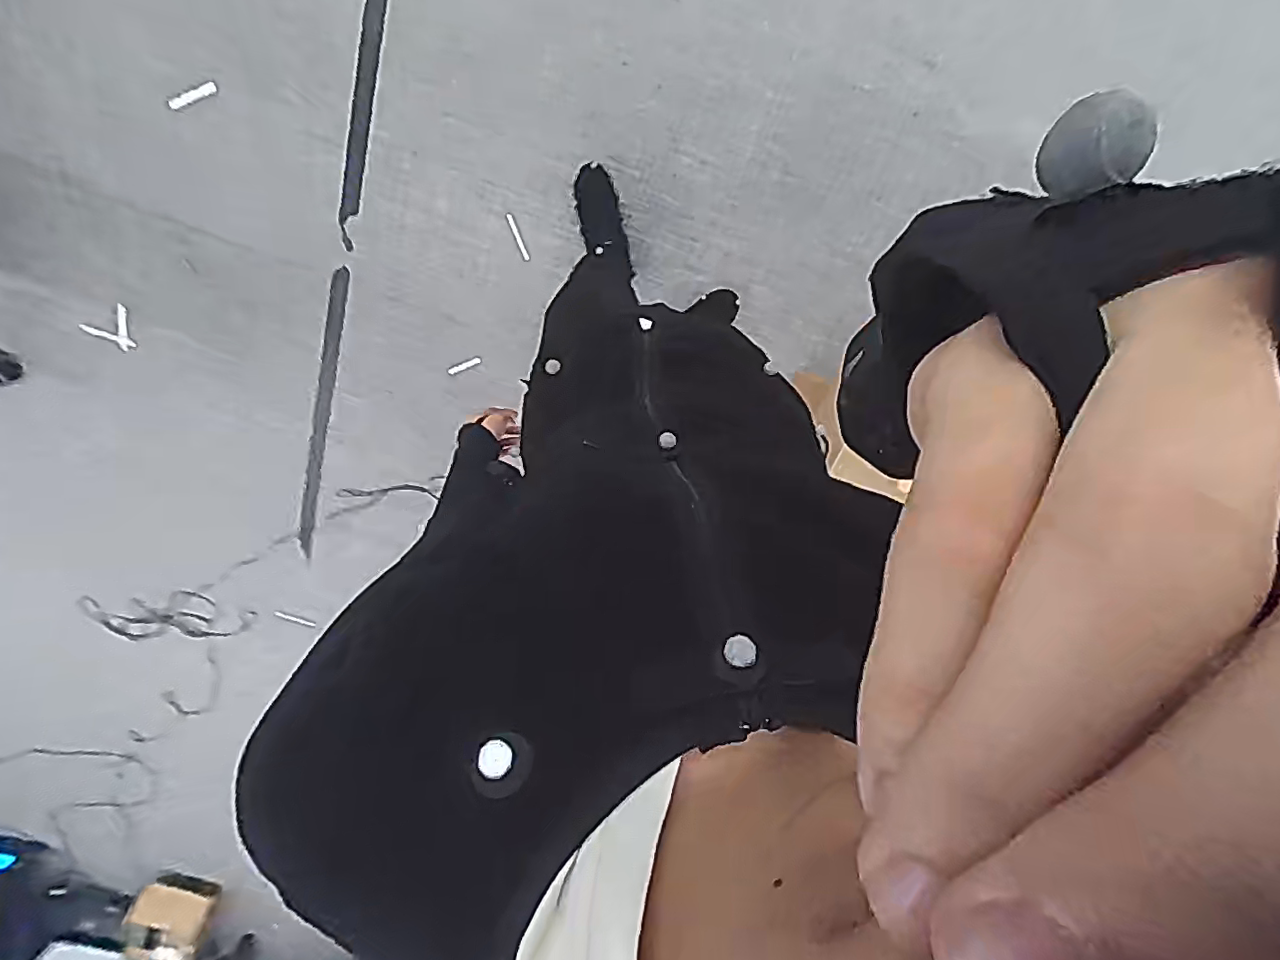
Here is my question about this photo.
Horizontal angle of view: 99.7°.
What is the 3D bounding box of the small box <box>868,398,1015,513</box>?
[{"bbox_3d":[0.609,-0.058,1.119,0.179,0.176,0.168,15,112,-4],"label":"small box"}]
